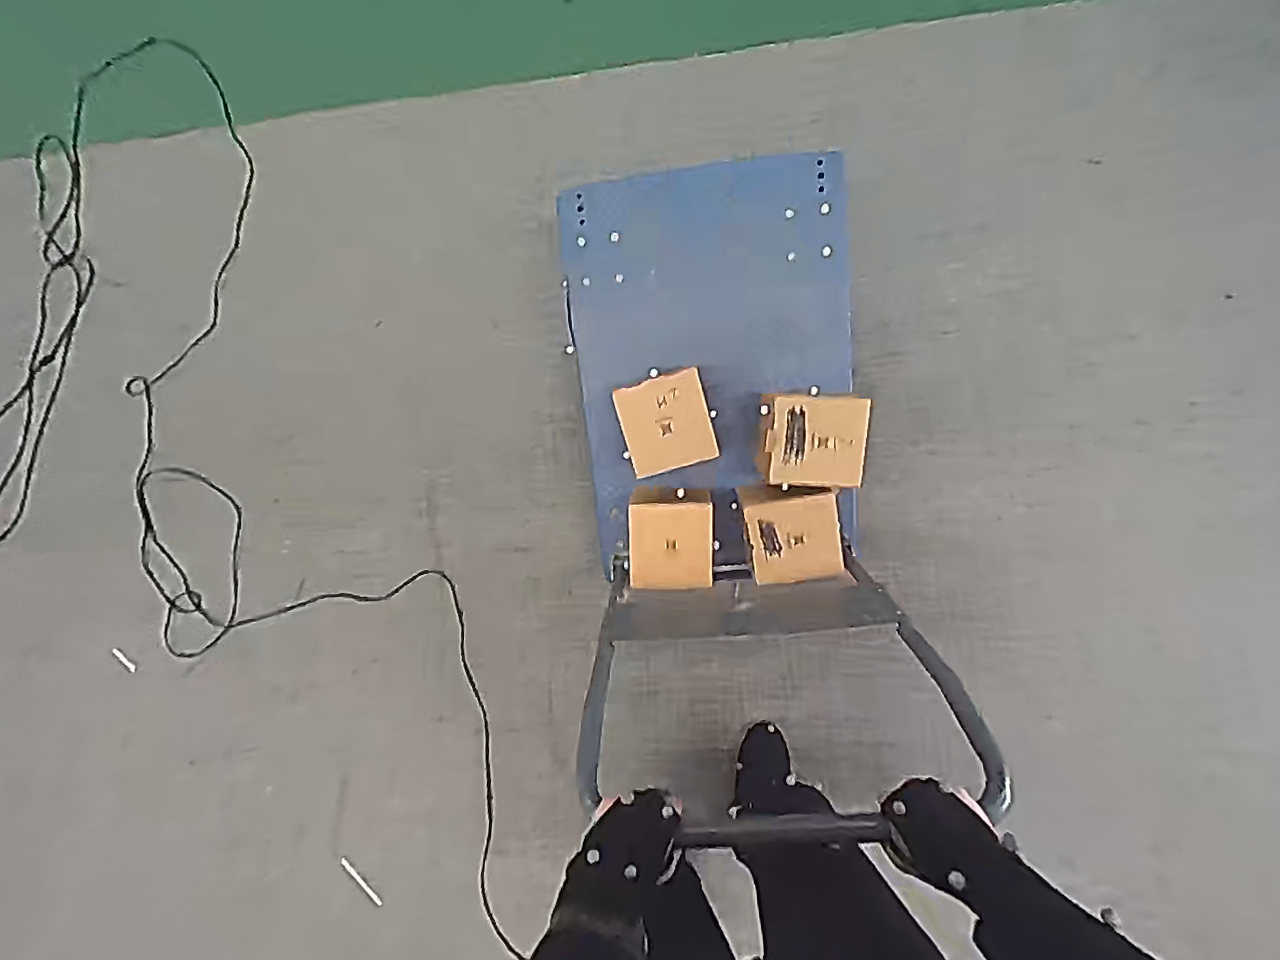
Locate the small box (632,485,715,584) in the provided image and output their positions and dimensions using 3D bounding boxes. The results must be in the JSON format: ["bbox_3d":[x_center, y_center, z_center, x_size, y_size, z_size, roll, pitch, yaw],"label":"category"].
[{"bbox_3d":[0.068,0.108,1.142,0.168,0.176,0.179,0,102,3],"label":"small box"}]

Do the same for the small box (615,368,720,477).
[{"bbox_3d":[0.059,-0.122,1.096,0.168,0.176,0.179,-16,99,6],"label":"small box"}]
